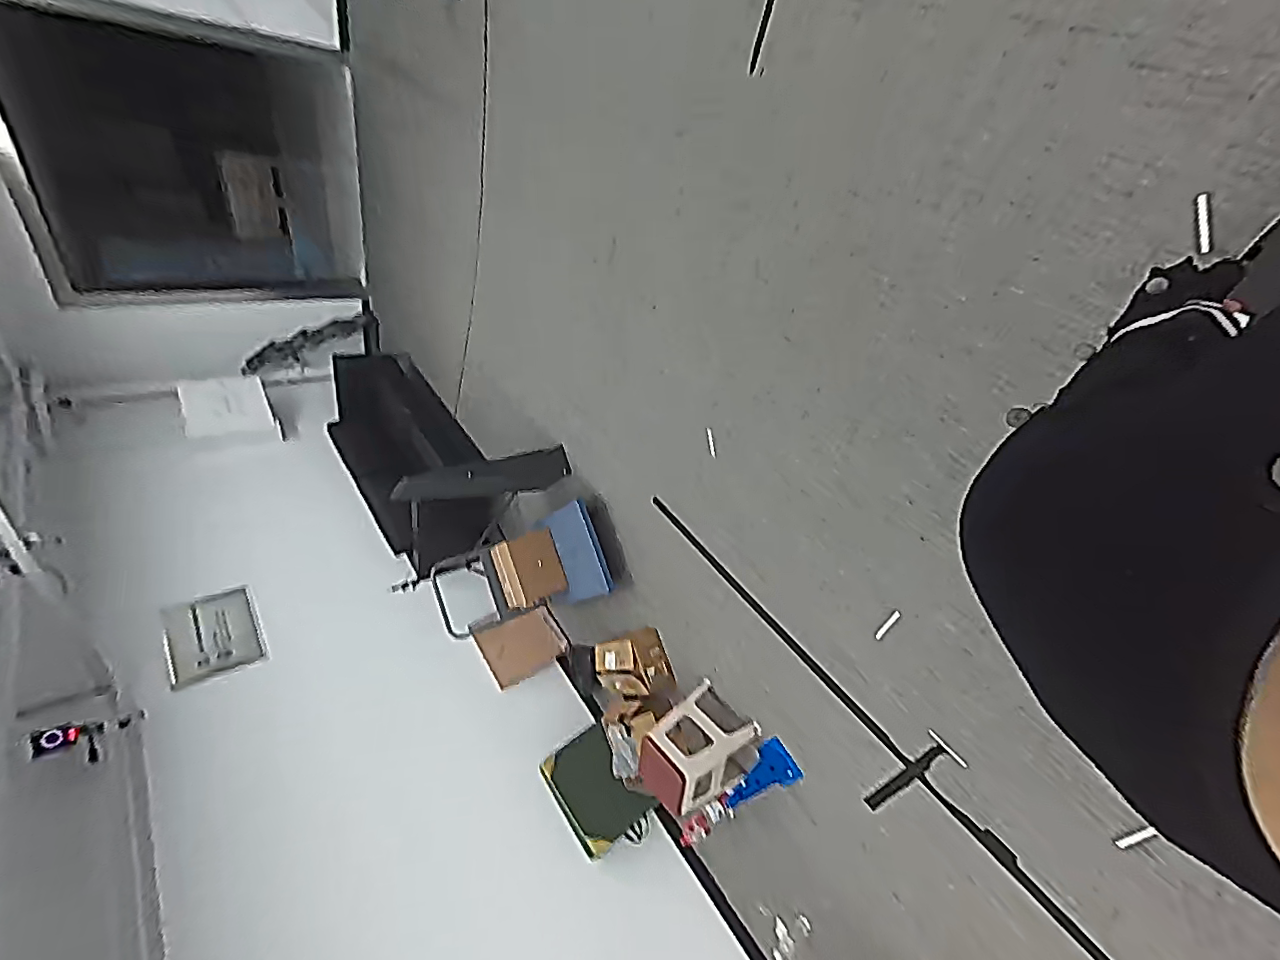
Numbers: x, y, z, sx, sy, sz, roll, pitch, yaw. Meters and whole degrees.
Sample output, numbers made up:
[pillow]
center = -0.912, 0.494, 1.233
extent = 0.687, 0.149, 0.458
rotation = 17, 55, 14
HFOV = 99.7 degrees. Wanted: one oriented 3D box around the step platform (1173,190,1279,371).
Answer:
[step platform]
center = 1.334, -0.244, 0.876
extent = 0.684, 0.204, 0.286
rotation = 46, 136, 34
